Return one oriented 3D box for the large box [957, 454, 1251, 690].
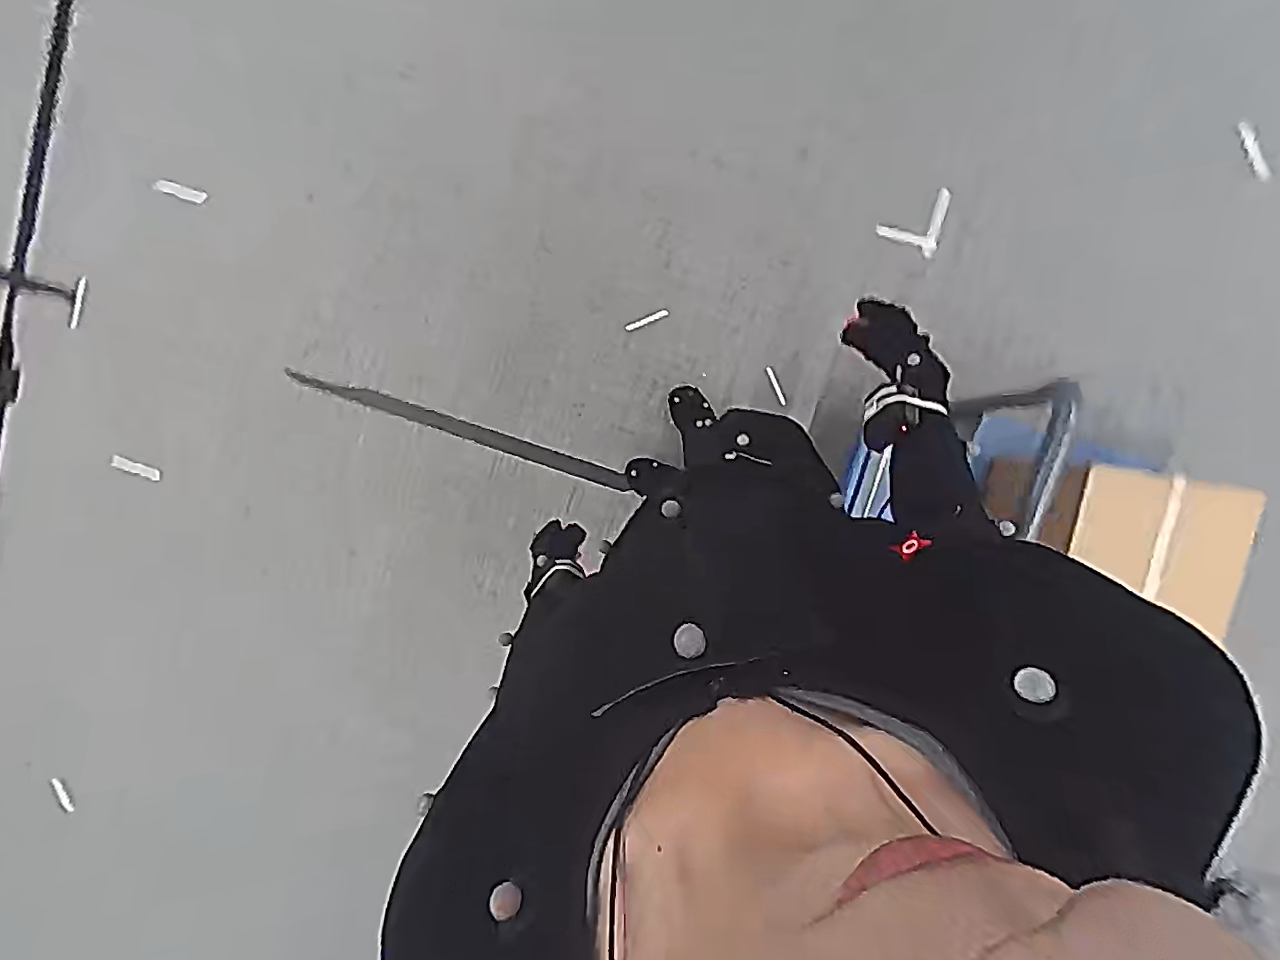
[{"bbox_3d":[0.947,0.167,1.159,0.320,0.320,0.408,9,96,3],"label":"large box"}]
